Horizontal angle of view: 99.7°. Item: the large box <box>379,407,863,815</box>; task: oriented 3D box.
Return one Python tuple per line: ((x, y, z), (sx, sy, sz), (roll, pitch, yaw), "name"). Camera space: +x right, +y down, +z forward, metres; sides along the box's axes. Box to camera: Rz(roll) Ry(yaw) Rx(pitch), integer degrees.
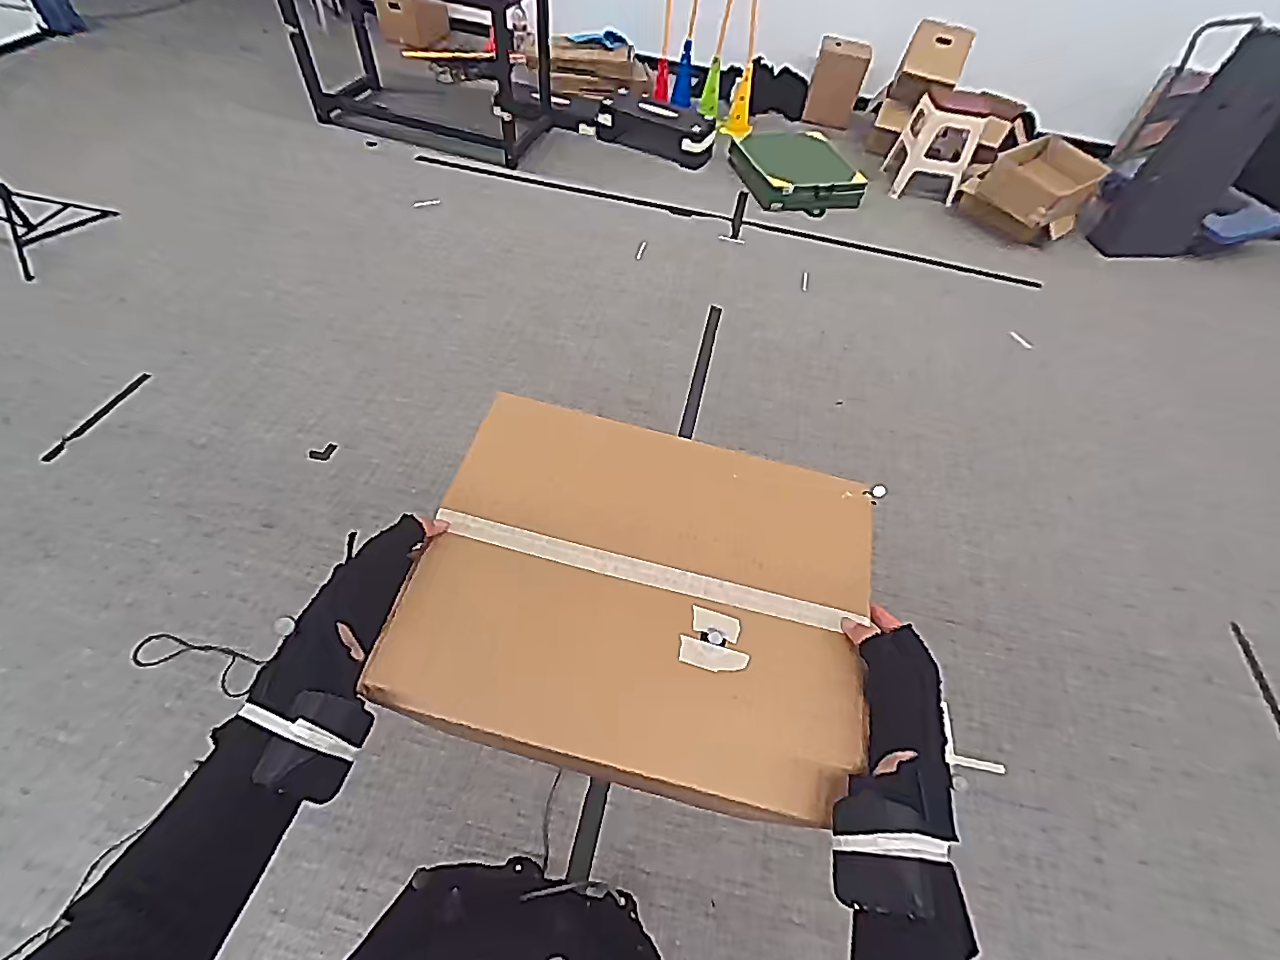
((-0.005, 0.166, 0.631), (0.408, 0.320, 0.320), (14, 60, 1), "large box")
